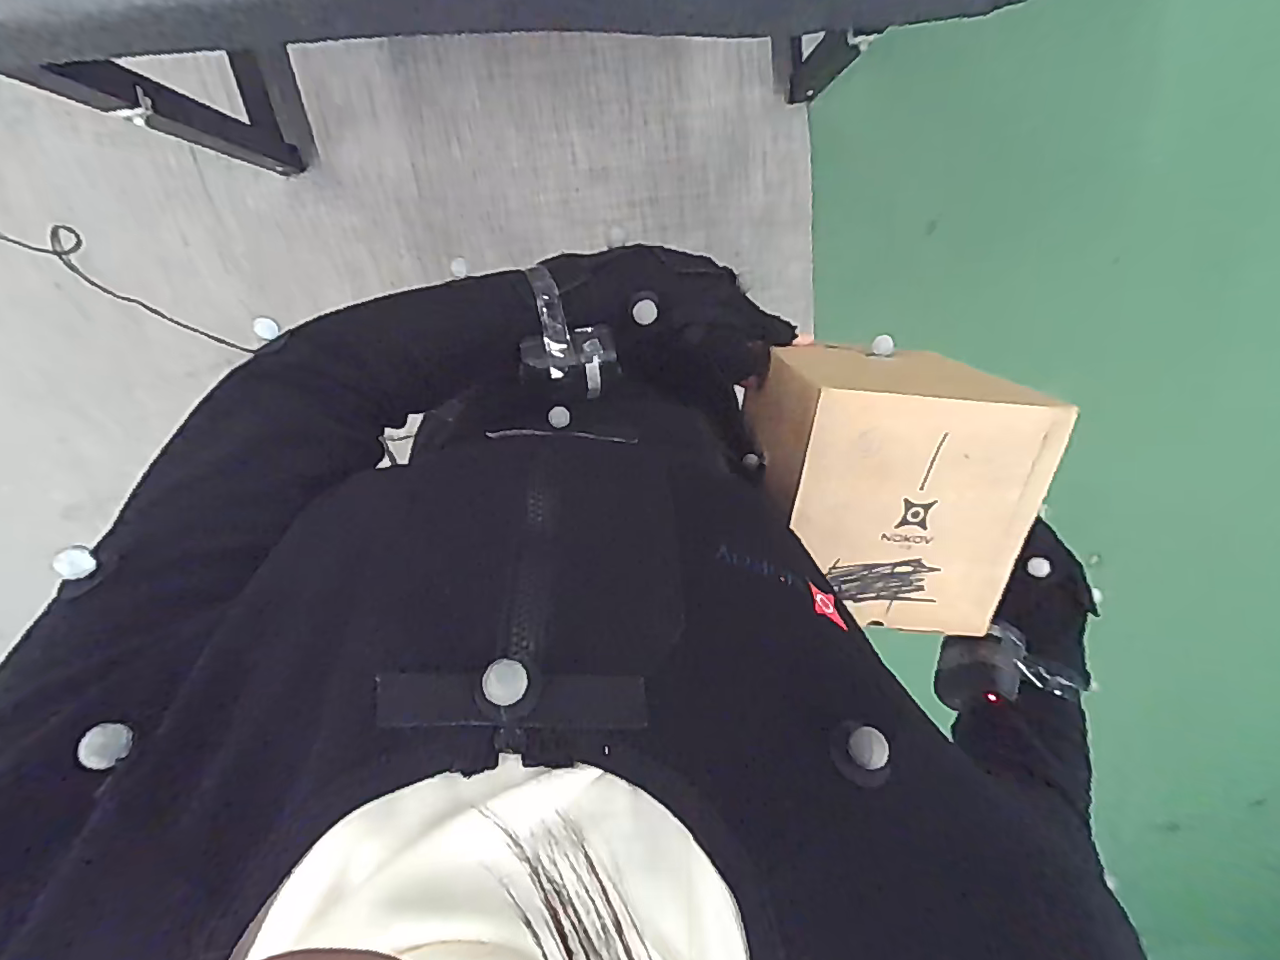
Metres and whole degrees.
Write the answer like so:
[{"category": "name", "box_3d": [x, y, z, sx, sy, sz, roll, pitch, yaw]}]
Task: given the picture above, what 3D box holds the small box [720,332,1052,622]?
[{"category": "small box", "box_3d": [0.168, -0.011, 0.441, 0.168, 0.176, 0.179, 5, 114, -5]}]
